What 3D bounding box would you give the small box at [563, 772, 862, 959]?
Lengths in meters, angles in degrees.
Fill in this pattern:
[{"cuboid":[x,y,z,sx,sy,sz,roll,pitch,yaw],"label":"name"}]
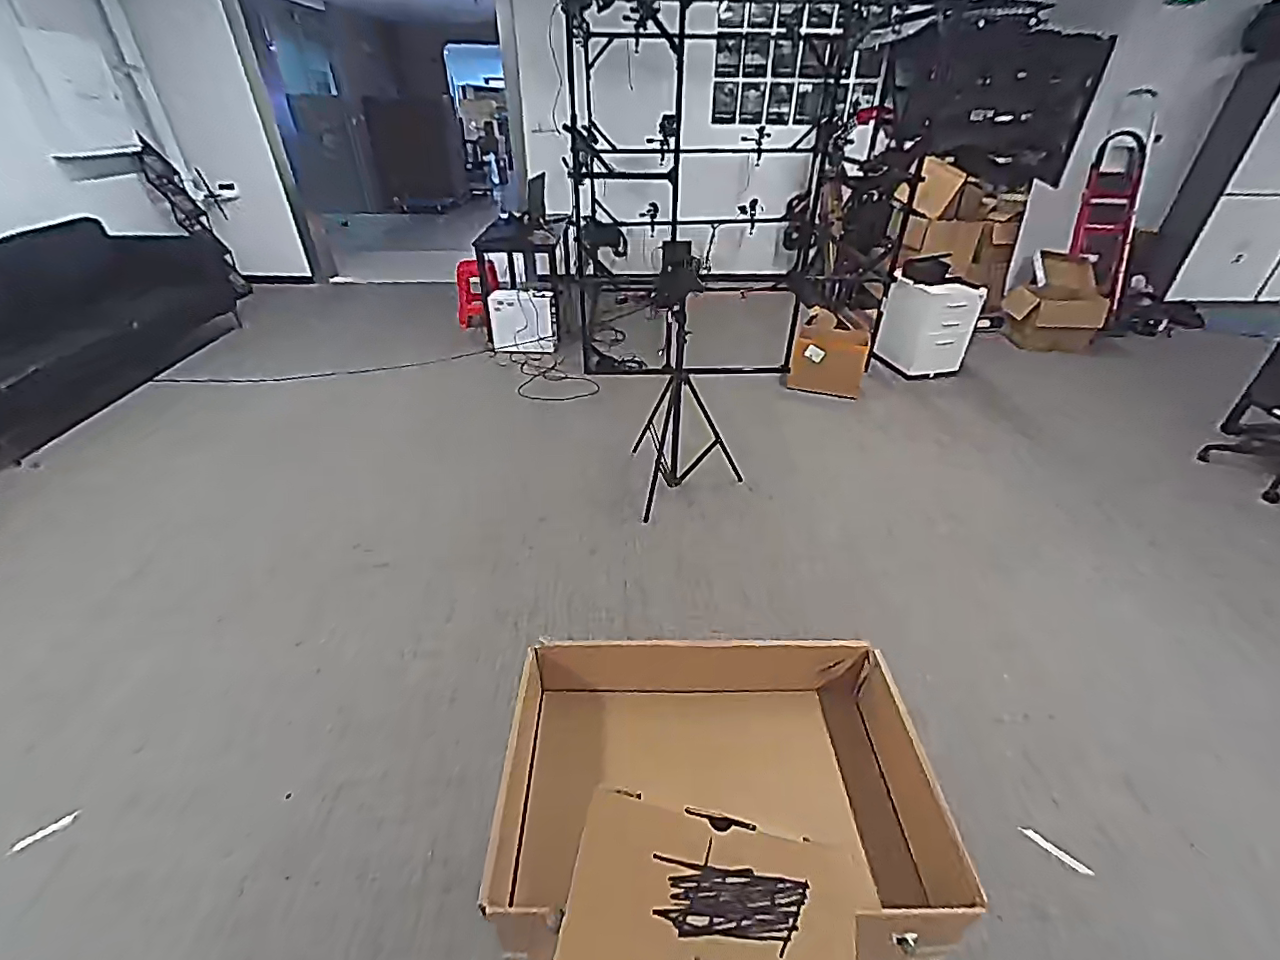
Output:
[{"cuboid":[0.036,0.321,0.358,0.168,0.176,0.179,10,54,6],"label":"small box"}]
